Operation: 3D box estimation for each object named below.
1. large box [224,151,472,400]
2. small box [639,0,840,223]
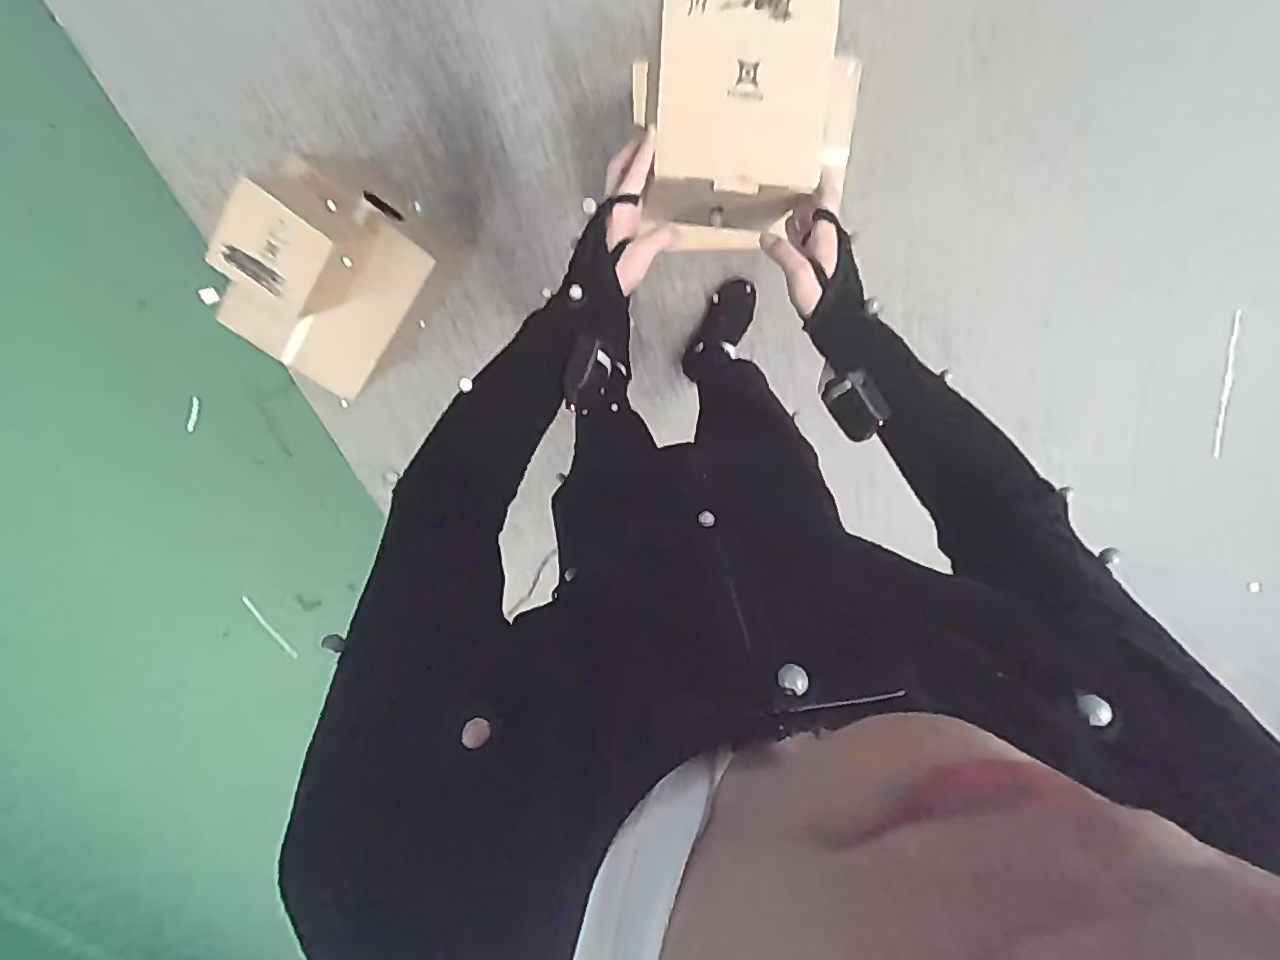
[{"bbox_3d":[-0.653,-0.473,1.256,0.320,0.320,0.408,35,113,-17],"label":"large box"},{"bbox_3d":[0.090,-0.388,0.578,0.168,0.176,0.179,2,103,-6],"label":"small box"}]
